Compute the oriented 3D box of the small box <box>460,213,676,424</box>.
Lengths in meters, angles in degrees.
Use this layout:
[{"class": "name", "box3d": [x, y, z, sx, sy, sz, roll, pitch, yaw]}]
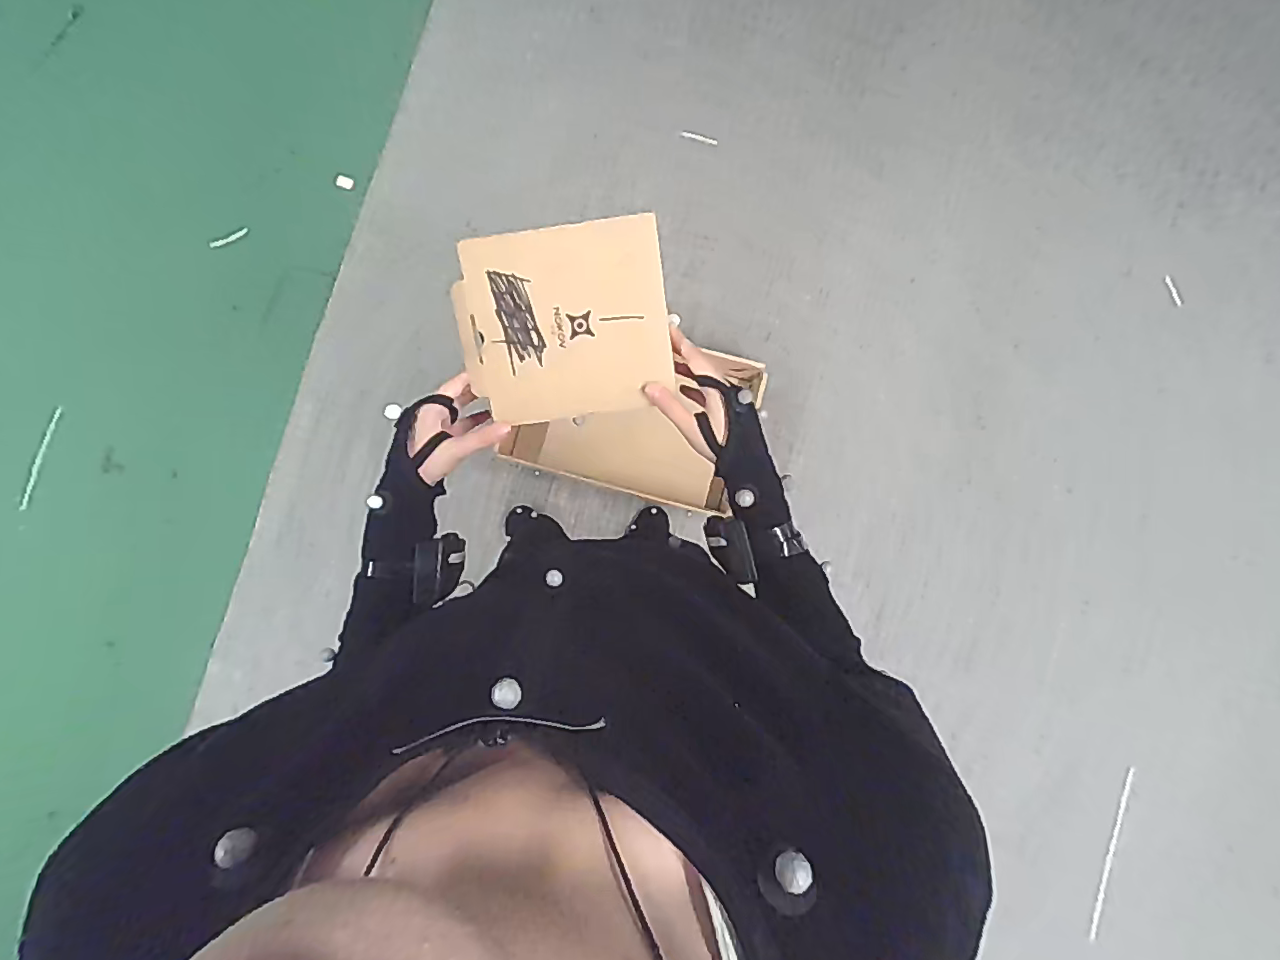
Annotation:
[{"class": "small box", "box3d": [-0.060, -0.159, 0.563, 0.179, 0.176, 0.168, -8, 104, 2]}]
